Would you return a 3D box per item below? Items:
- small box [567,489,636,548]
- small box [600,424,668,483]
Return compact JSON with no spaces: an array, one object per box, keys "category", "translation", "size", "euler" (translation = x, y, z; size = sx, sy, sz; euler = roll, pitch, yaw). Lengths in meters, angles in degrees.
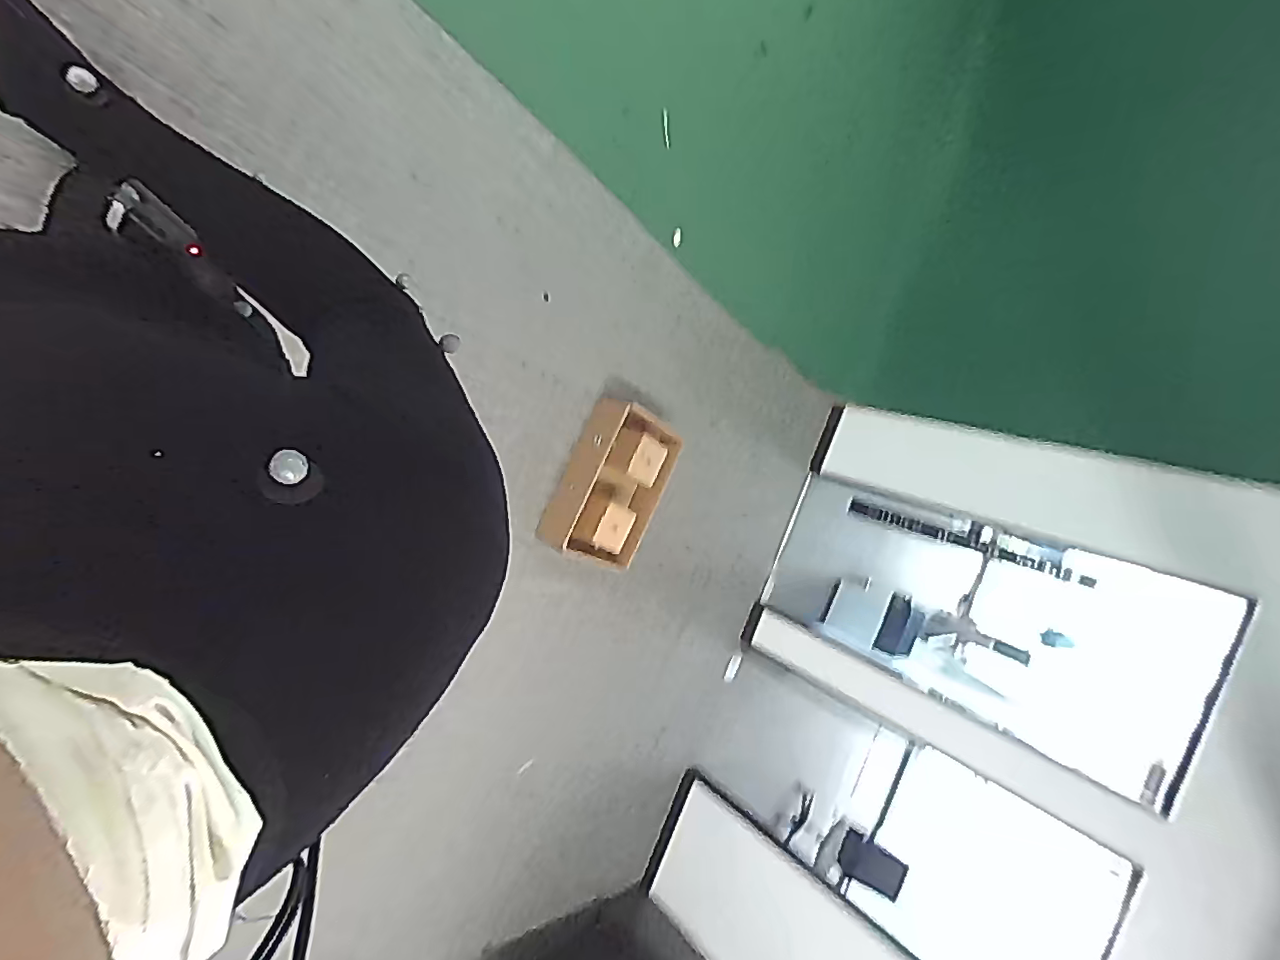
[{"category":"small box","translation":[-0.153,0.151,2.152],"size":[0.179,0.176,0.168],"euler":[30,84,-48]},{"category":"small box","translation":[-0.025,-0.110,2.171],"size":[0.179,0.176,0.168],"euler":[29,85,-49]}]
